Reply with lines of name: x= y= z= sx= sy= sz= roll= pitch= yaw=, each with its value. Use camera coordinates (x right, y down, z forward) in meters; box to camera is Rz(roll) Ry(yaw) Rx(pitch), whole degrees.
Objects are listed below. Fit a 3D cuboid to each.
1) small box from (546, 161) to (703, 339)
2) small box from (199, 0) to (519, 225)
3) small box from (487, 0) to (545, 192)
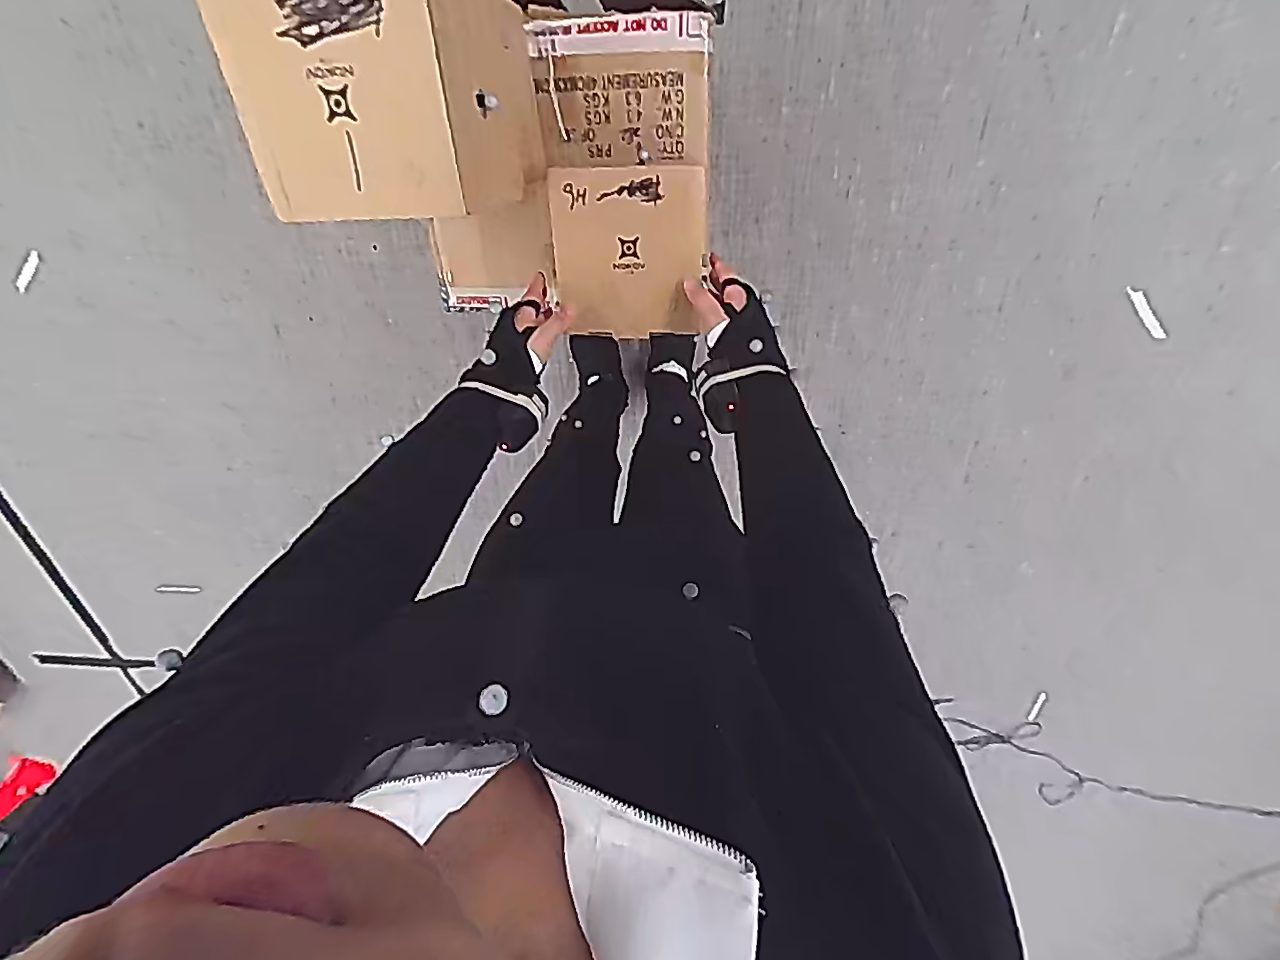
small box: x=-0.011 y=-0.285 z=0.663 sx=0.168 sy=0.176 sz=0.179 roll=0 pitch=122 yaw=3
small box: x=-0.214 y=-0.324 z=0.462 sx=0.168 sy=0.176 sz=0.179 roll=1 pitch=123 yaw=5
small box: x=-0.215 y=-0.414 z=0.600 sx=0.168 sy=0.176 sz=0.179 roll=-2 pitch=122 yaw=7
